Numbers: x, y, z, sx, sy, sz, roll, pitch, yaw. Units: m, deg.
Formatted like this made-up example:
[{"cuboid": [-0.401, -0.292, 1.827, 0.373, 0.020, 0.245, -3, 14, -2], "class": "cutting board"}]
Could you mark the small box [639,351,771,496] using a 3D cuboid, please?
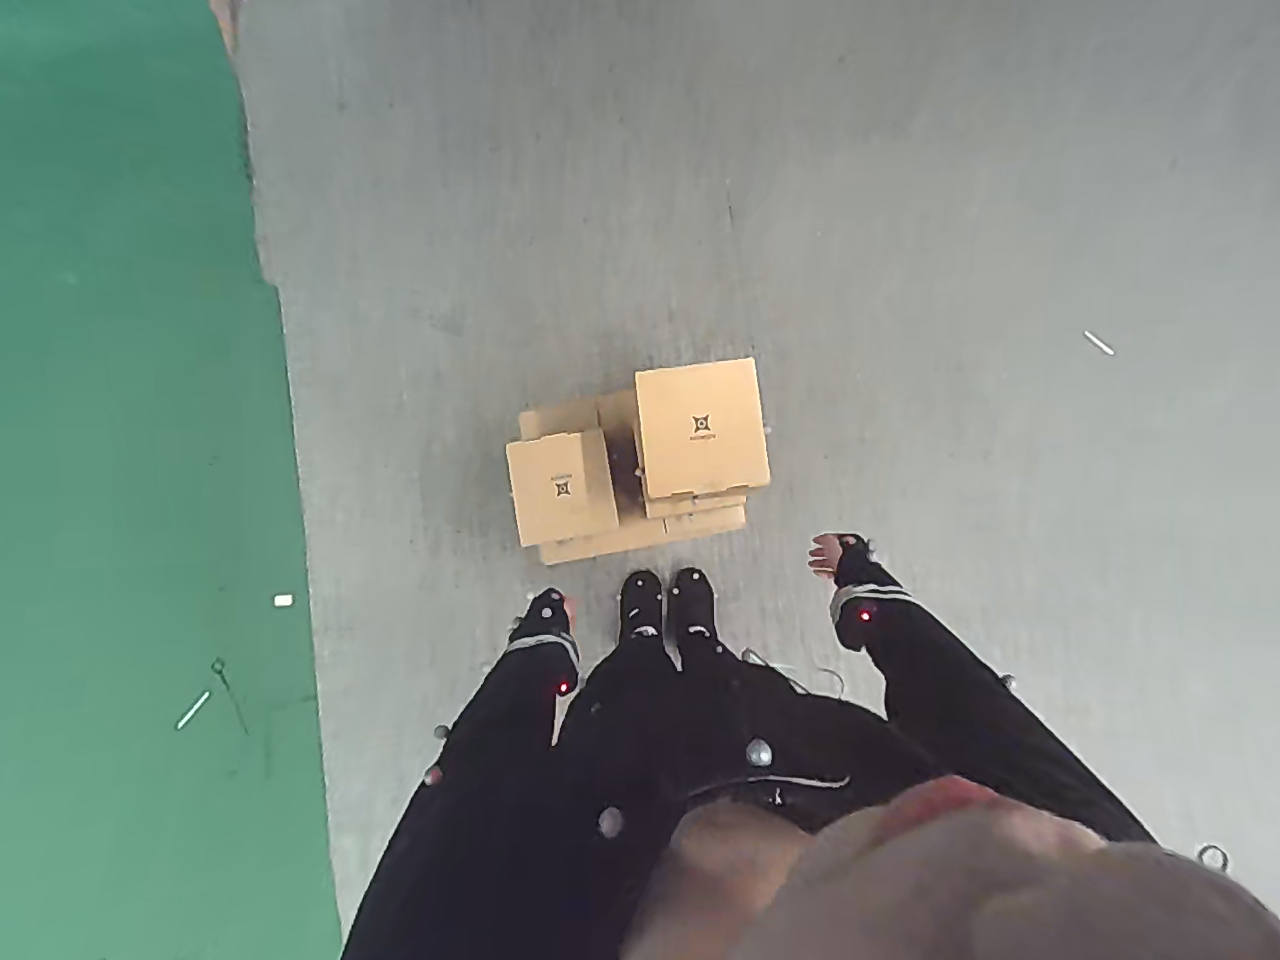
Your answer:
[{"cuboid": [0.088, -0.075, 0.806, 0.168, 0.176, 0.179, -6, 85, 2], "class": "small box"}]
